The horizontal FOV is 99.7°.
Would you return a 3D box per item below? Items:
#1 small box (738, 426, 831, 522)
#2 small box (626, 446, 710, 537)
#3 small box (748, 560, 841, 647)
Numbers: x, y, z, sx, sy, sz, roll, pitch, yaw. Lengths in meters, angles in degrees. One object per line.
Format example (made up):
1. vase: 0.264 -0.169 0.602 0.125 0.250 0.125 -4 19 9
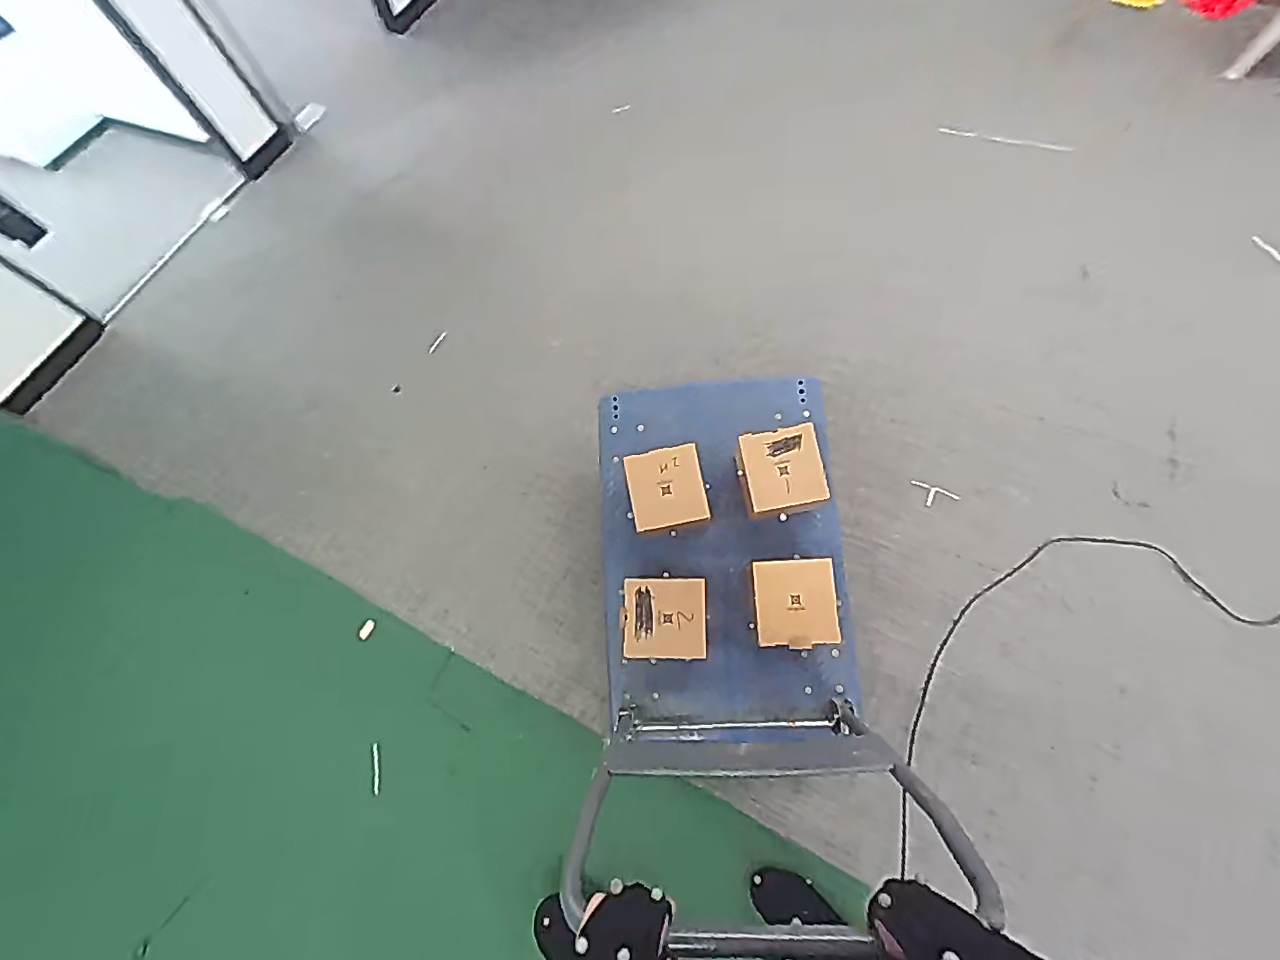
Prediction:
1. small box: 0.326 -0.008 1.256 0.168 0.176 0.179 -10 78 5
2. small box: 0.070 0.035 1.276 0.168 0.176 0.179 -11 77 3
3. small box: 0.335 0.272 1.200 0.168 0.176 0.179 -4 79 6
